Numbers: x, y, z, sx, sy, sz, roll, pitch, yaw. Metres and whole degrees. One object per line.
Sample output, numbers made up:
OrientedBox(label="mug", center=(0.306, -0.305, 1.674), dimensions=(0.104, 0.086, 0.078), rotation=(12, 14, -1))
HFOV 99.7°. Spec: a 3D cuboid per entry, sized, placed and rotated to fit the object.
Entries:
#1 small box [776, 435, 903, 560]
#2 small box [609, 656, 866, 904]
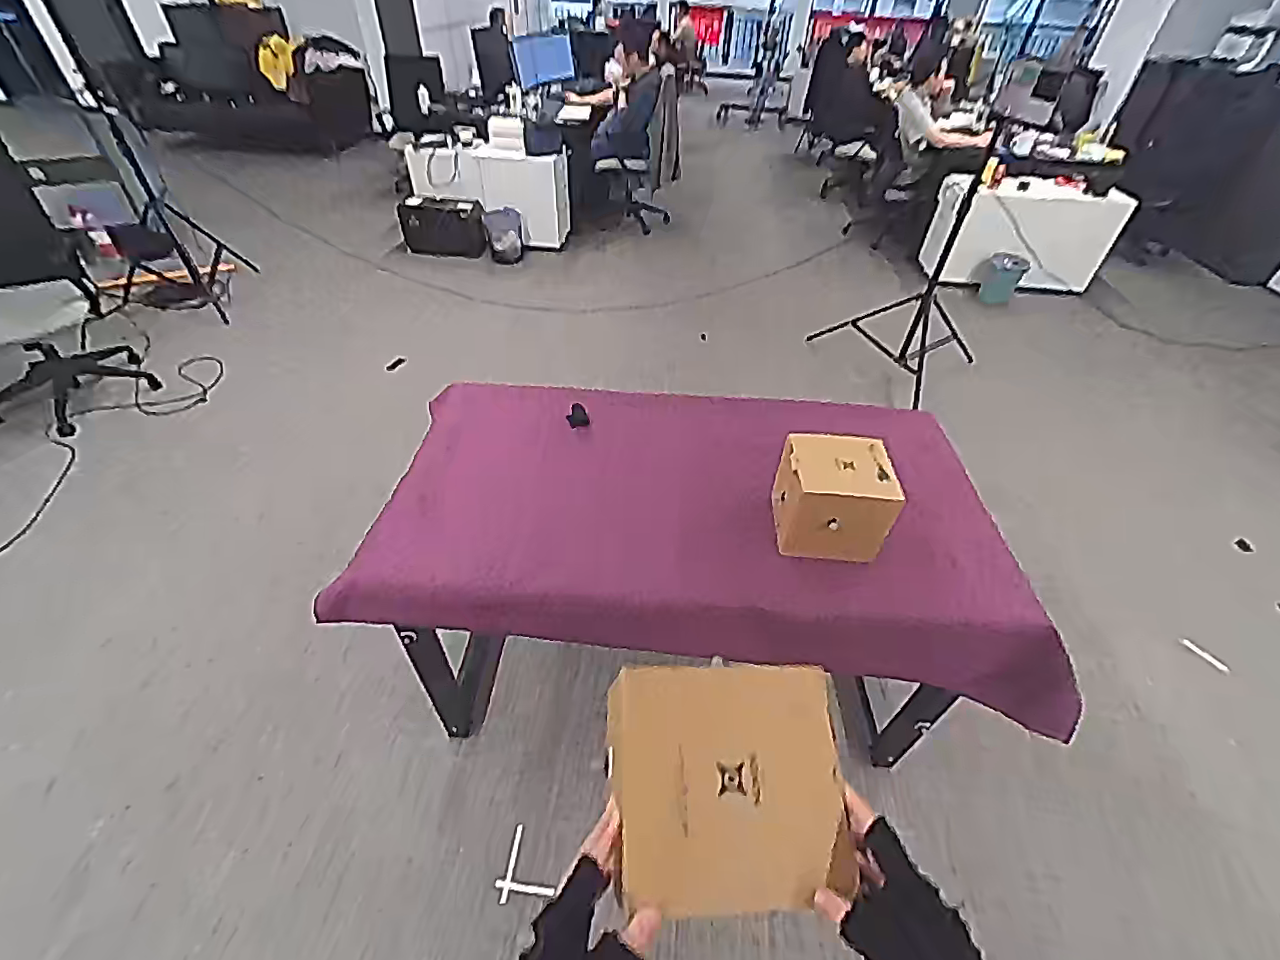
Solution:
OrientedBox(label="small box", center=(0.358, 0.034, 1.013), dimensions=(0.179, 0.176, 0.168), rotation=(3, 43, 2))
OrientedBox(label="small box", center=(0.066, 0.259, 0.488), dimensions=(0.179, 0.176, 0.168), rotation=(0, 60, -7))
